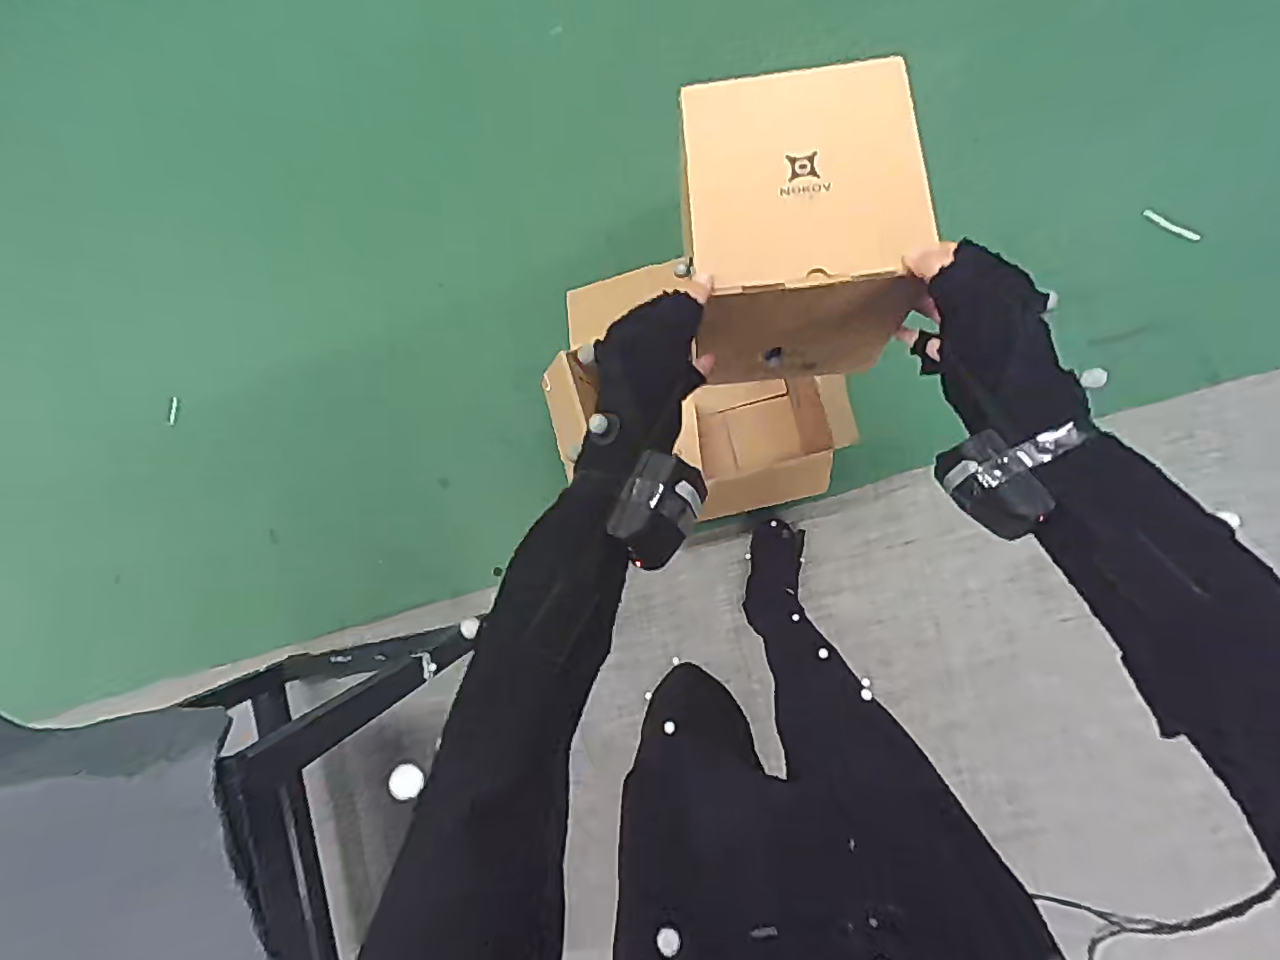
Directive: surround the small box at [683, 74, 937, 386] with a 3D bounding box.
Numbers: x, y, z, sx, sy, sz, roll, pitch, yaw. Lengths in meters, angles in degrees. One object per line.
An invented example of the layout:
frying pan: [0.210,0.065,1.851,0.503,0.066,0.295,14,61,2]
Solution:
small box: [0.124,-0.198,0.470,0.168,0.176,0.179,-5,78,4]
